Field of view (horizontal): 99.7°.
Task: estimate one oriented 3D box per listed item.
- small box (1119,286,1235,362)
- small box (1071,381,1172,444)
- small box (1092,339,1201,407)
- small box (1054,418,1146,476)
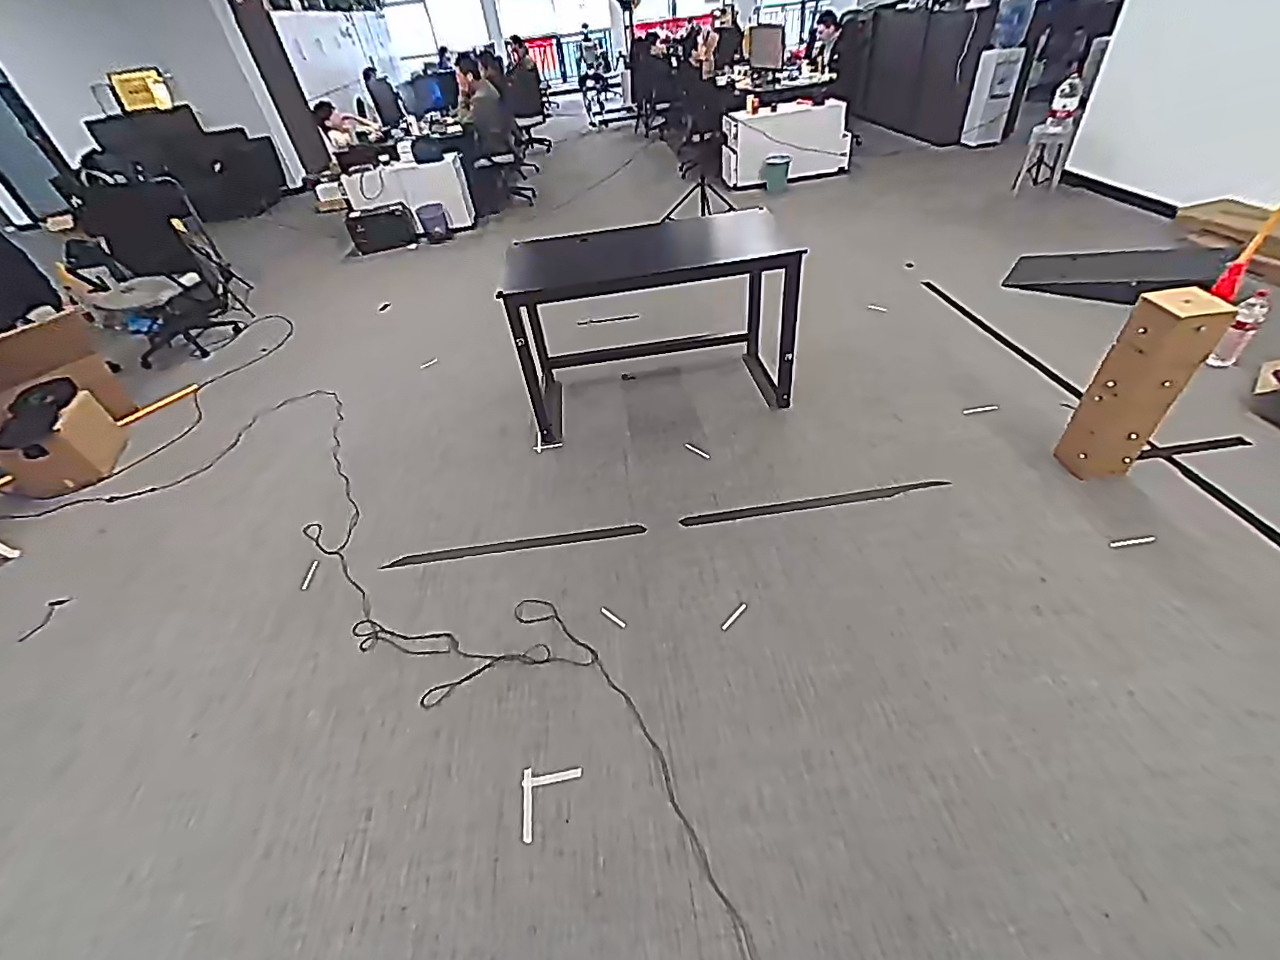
[{"bbox_3d":[1.660,-0.485,1.691,0.179,0.176,0.168,-7,42,1],"label":"small box"},{"bbox_3d":[1.695,-0.247,1.917,0.179,0.176,0.168,-10,42,-2],"label":"small box"},{"bbox_3d":[1.677,-0.366,1.804,0.179,0.176,0.168,-11,42,-2],"label":"small box"},{"bbox_3d":[1.716,-0.127,2.027,0.168,0.176,0.179,-9,40,-1],"label":"small box"}]
